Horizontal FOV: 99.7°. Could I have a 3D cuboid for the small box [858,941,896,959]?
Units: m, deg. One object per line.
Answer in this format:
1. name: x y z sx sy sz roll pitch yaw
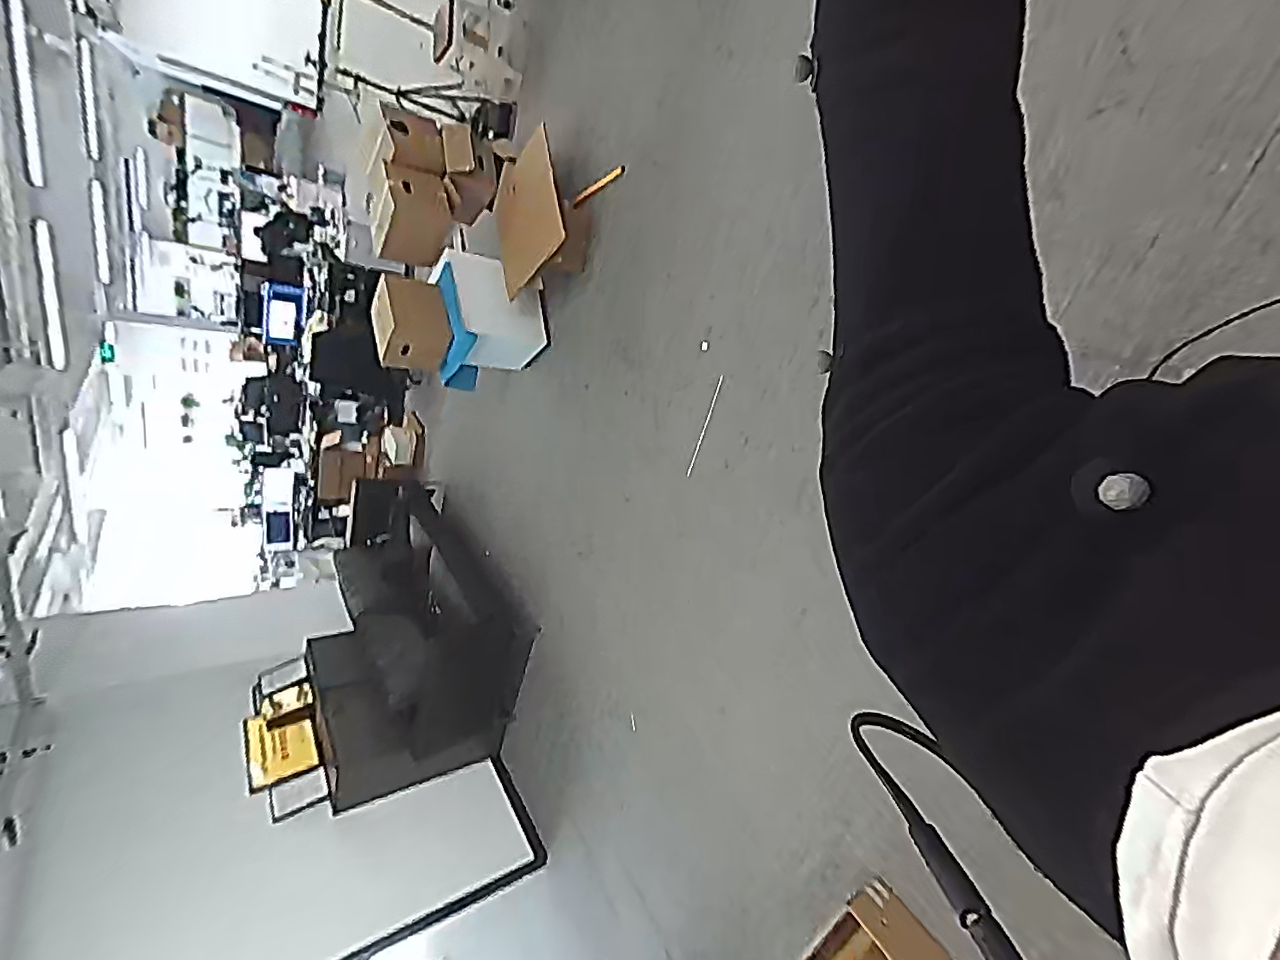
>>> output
1. small box: 0.705 1.540 1.612 0.168 0.176 0.179 44 123 41
